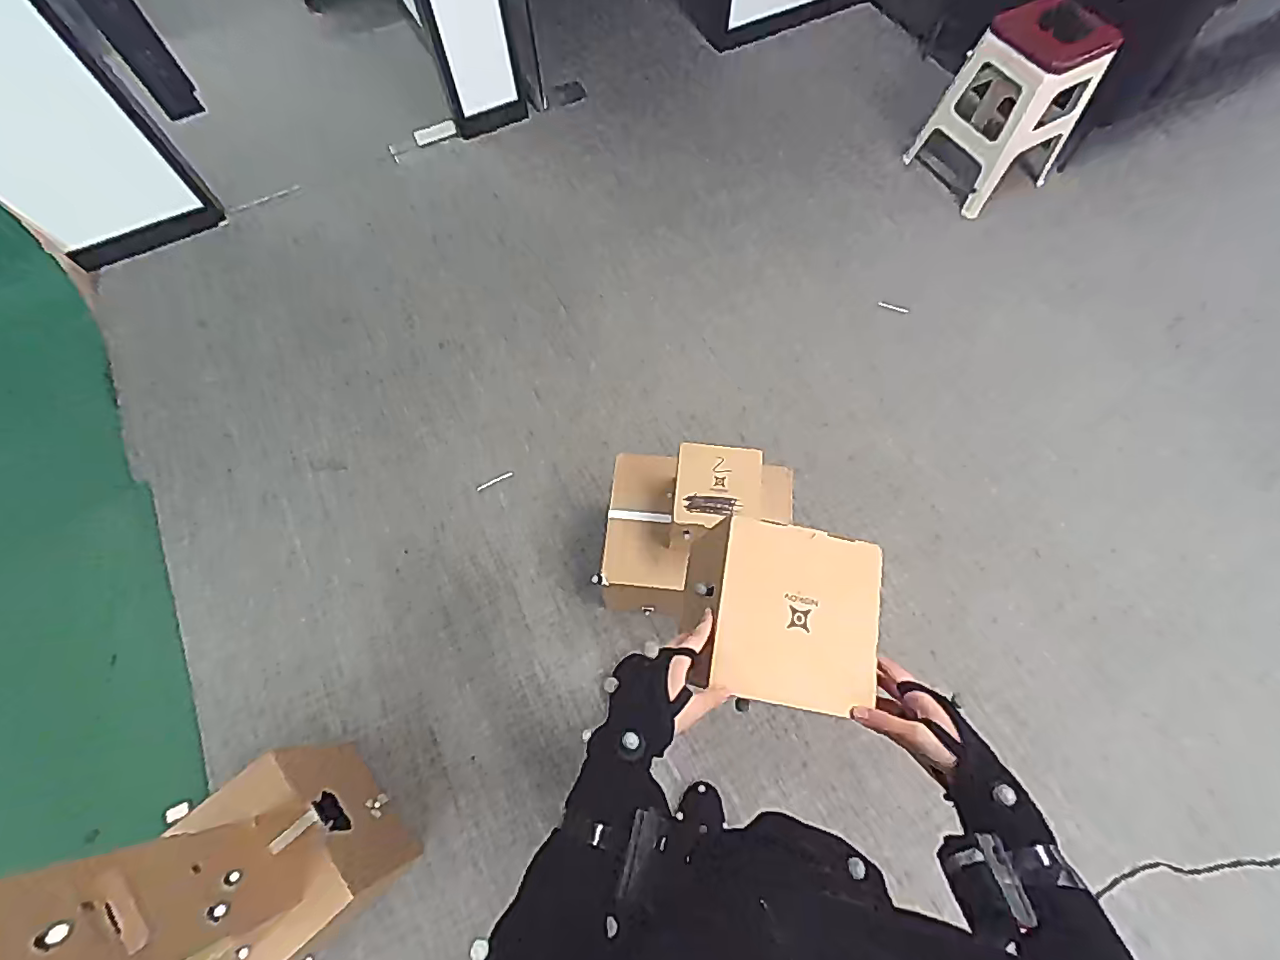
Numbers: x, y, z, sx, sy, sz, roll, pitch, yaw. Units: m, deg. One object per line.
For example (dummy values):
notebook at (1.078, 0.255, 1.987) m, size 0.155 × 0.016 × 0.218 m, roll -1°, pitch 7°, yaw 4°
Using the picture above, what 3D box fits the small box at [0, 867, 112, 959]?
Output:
small box at (-0.690, 0.536, 0.539) m, size 0.179 × 0.176 × 0.168 m, roll -39°, pitch 71°, yaw -17°

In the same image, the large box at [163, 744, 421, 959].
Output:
large box at (-0.726, 0.790, 1.052) m, size 0.408 × 0.320 × 0.320 m, roll -40°, pitch 70°, yaw -15°

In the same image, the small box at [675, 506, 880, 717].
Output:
small box at (0.142, 0.148, 0.603) m, size 0.168 × 0.176 × 0.179 m, roll 13°, pitch 70°, yaw -4°

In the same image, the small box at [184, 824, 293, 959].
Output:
small box at (-0.687, 0.674, 0.837) m, size 0.168 × 0.176 × 0.179 m, roll -39°, pitch 71°, yaw -16°

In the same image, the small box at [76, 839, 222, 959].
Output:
small box at (-0.687, 0.603, 0.689) m, size 0.179 × 0.176 × 0.168 m, roll -40°, pitch 72°, yaw -16°
